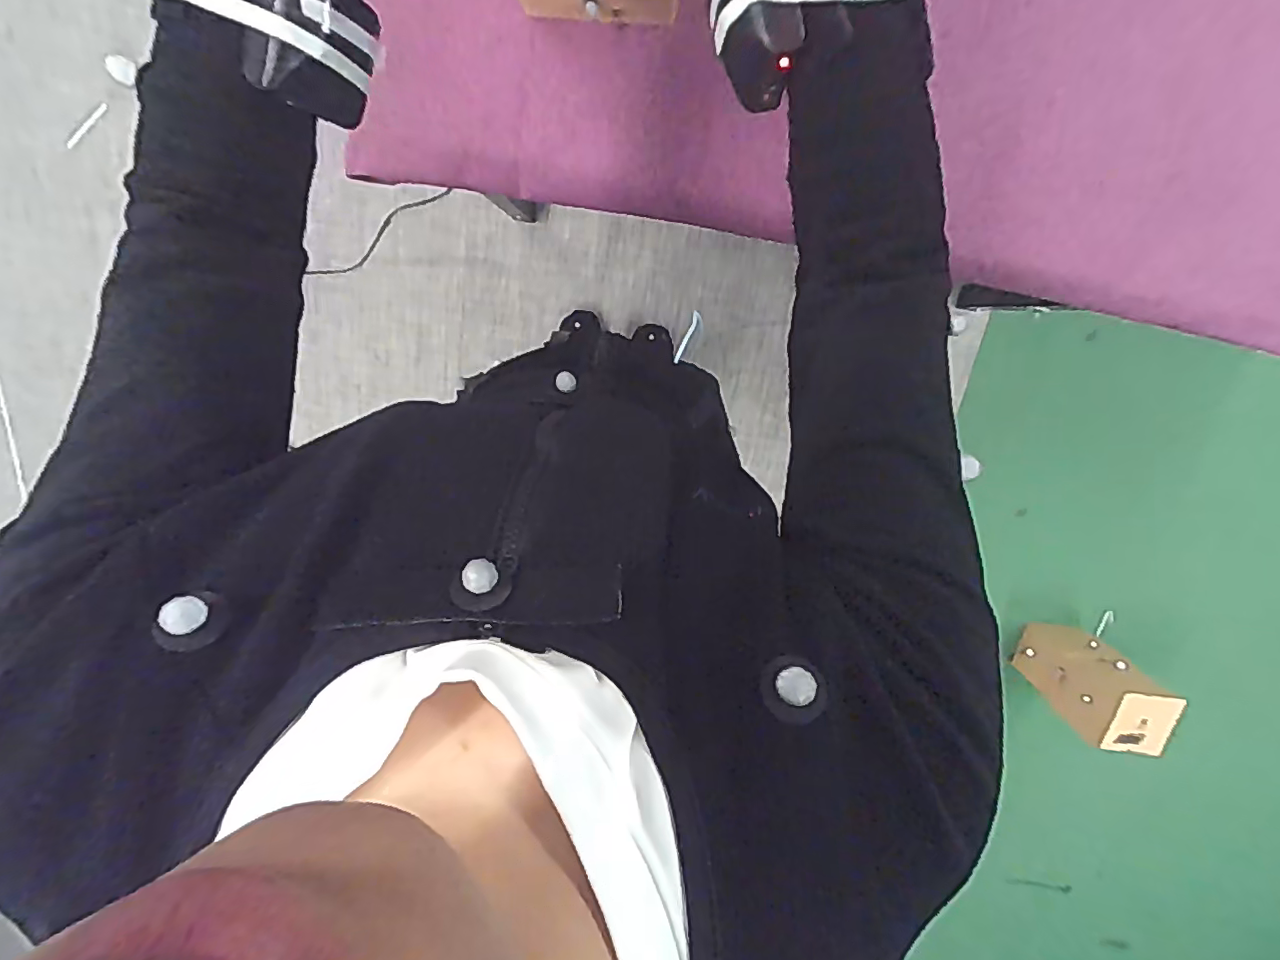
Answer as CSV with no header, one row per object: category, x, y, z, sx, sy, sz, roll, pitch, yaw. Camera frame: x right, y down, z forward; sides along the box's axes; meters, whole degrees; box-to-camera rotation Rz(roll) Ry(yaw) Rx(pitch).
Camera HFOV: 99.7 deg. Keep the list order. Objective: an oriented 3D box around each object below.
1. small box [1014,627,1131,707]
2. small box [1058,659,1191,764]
small box,1.260,0.553,1.588,0.179,0.176,0.168,9,106,-3
small box,1.264,0.608,1.430,0.168,0.176,0.179,10,108,-5
